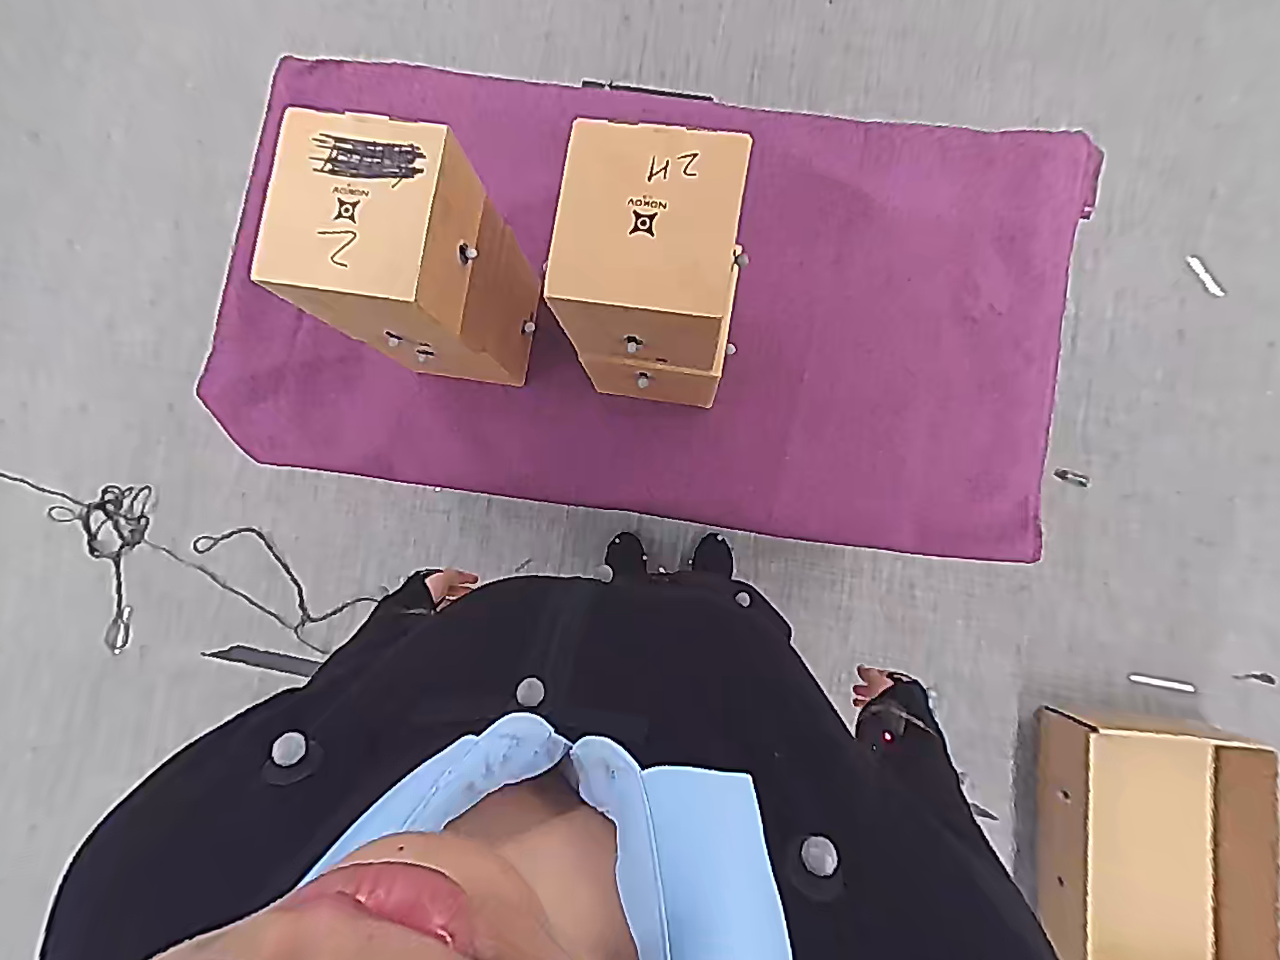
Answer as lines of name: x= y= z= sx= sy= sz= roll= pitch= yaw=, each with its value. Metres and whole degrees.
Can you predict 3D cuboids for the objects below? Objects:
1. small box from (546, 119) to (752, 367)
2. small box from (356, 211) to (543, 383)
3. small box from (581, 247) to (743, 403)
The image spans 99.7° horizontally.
small box: x=0.014 y=-0.231 z=0.567 sx=0.168 sy=0.176 sz=0.179 roll=9 pitch=85 yaw=5
small box: x=-0.251 y=-0.242 z=0.751 sx=0.179 sy=0.176 sz=0.168 roll=9 pitch=86 yaw=4
small box: x=0.032 y=-0.207 z=0.730 sx=0.179 sy=0.176 sz=0.168 roll=9 pitch=86 yaw=5
